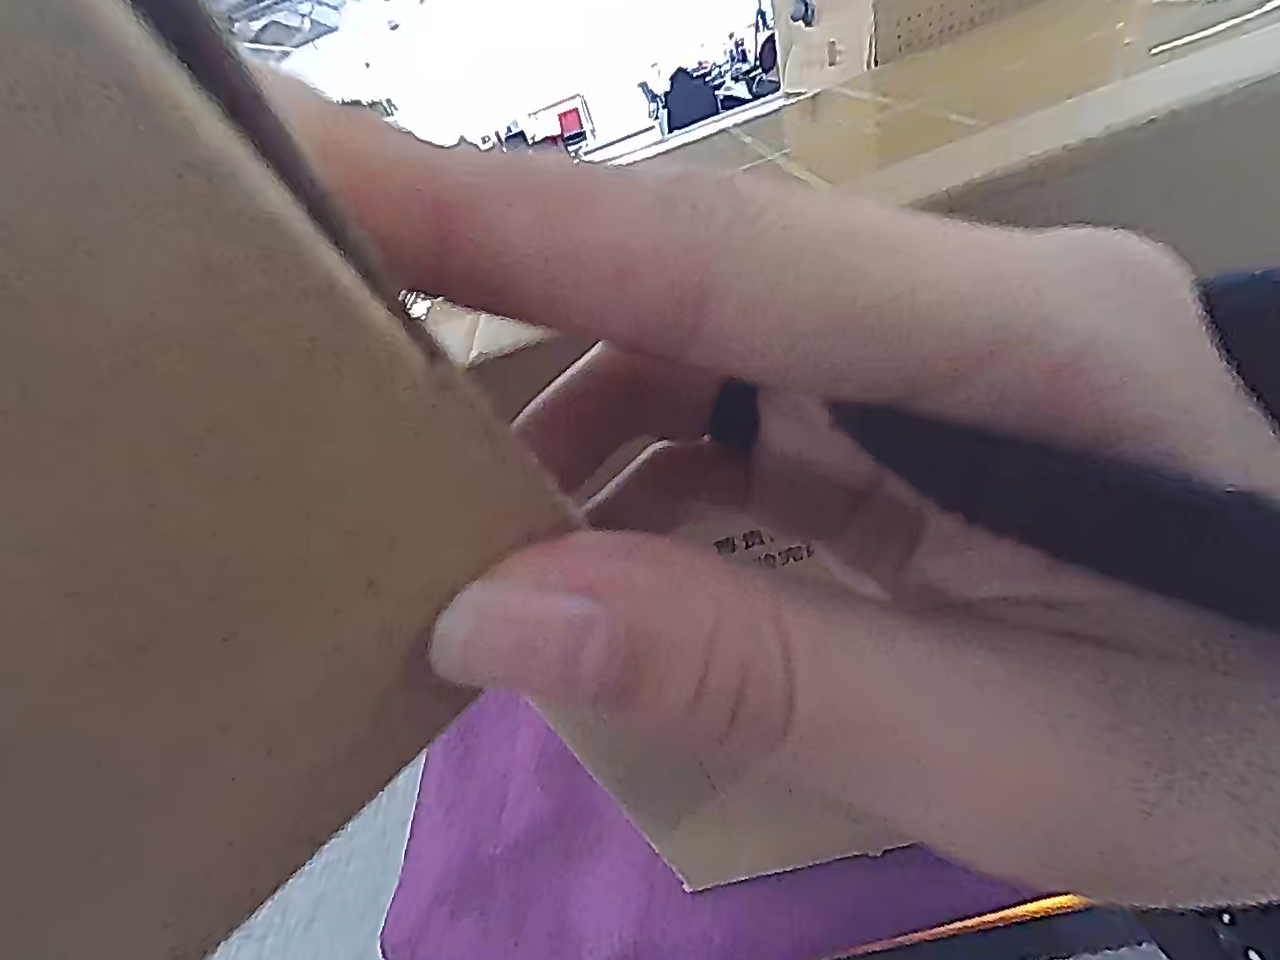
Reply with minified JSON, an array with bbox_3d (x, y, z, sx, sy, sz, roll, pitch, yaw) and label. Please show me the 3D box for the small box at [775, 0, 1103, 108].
[{"bbox_3d":[0.192,-0.375,0.357,0.179,0.176,0.168,-21,36,4],"label":"small box"}]
